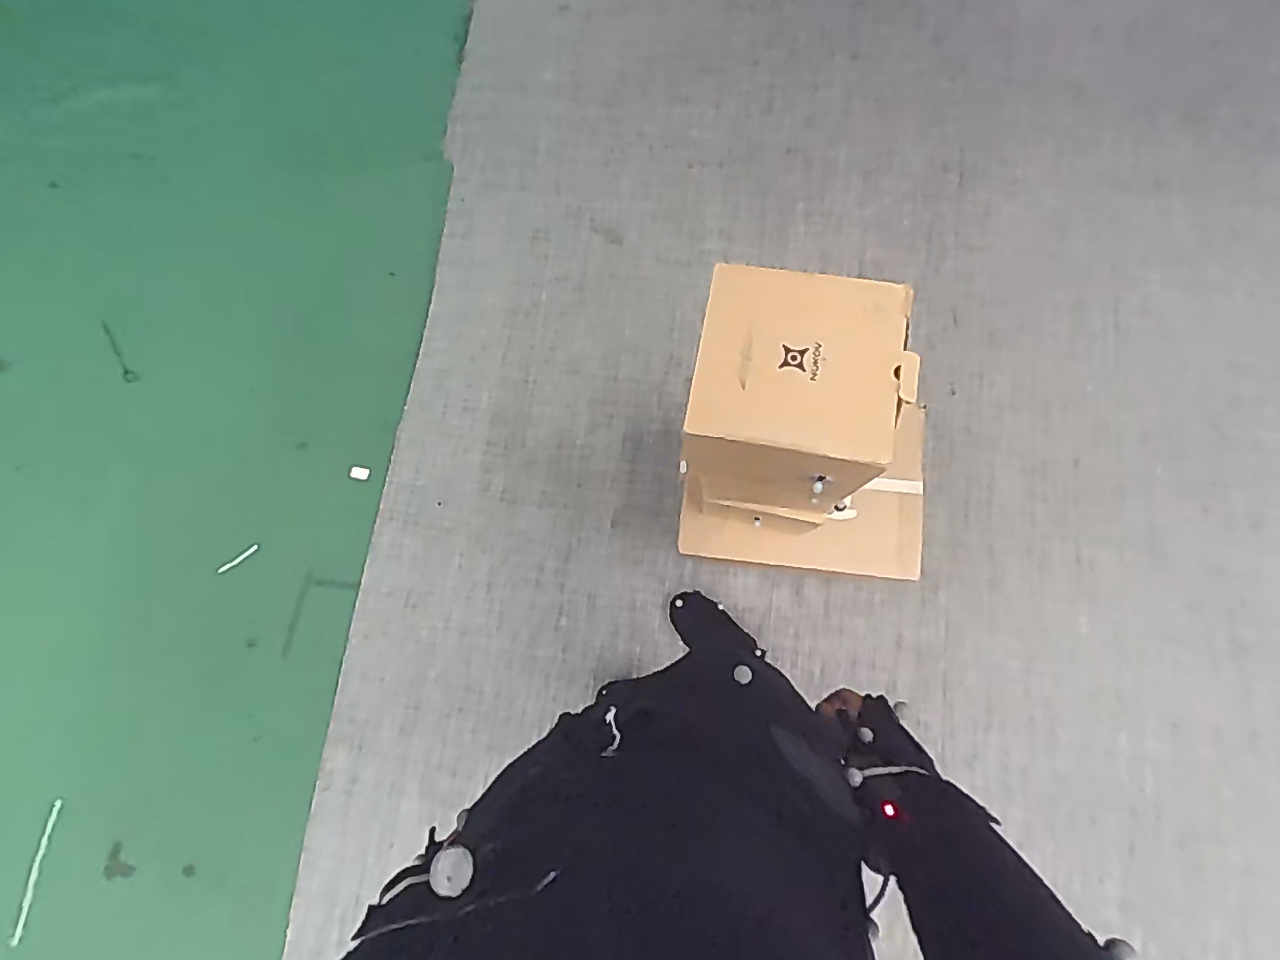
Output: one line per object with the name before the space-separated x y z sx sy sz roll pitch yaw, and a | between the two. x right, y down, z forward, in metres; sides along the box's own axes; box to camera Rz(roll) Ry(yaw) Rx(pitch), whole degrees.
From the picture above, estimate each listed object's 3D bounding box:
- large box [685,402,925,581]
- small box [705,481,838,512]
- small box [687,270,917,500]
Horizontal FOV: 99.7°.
large box | 0.300 0.028 1.087 0.408 0.320 0.320 5 81 7
small box | 0.178 -0.057 0.701 0.179 0.176 0.168 7 79 8
small box | 0.149 -0.082 0.542 0.179 0.176 0.168 10 78 9
